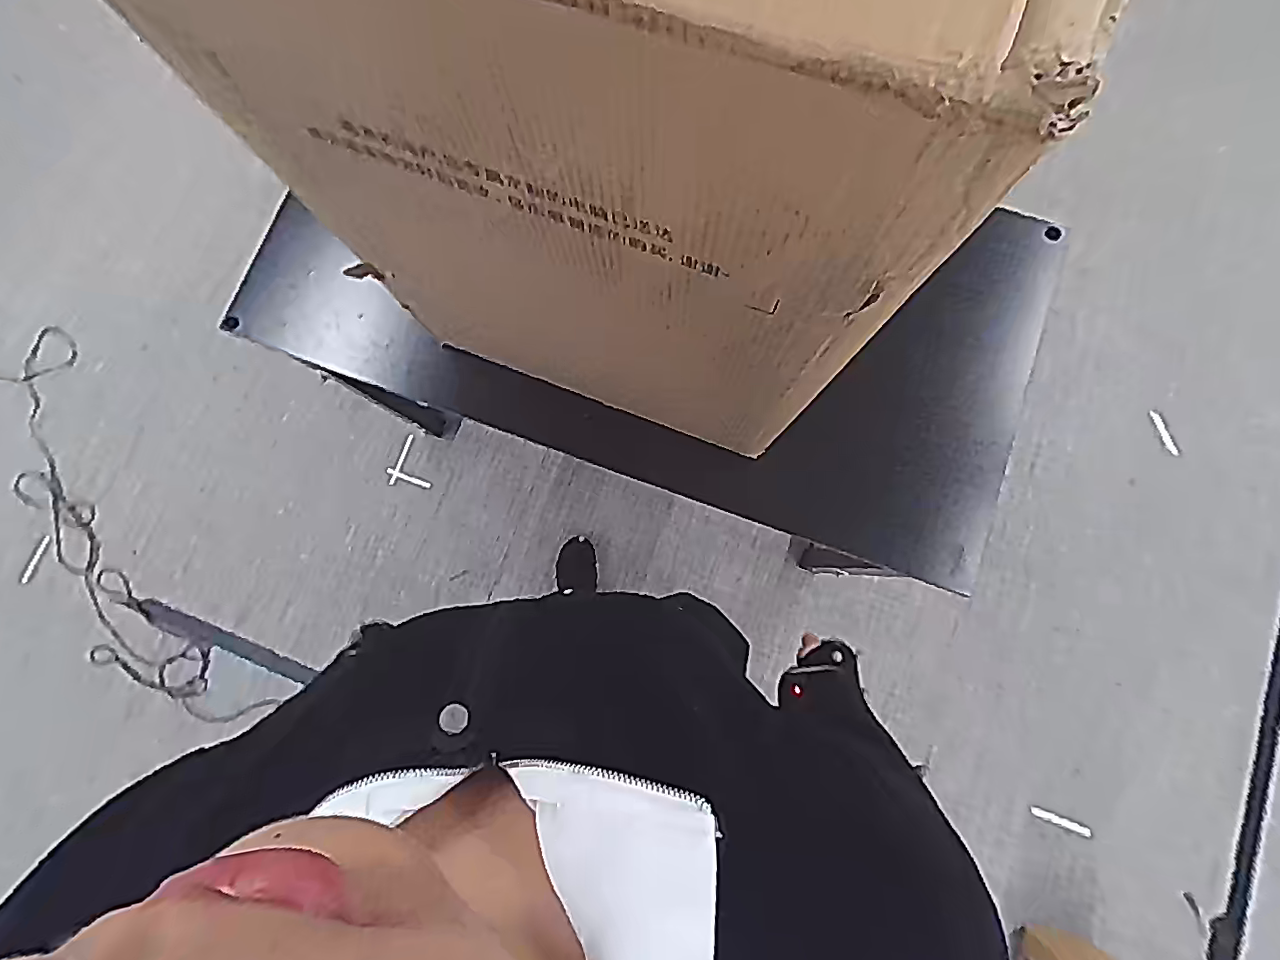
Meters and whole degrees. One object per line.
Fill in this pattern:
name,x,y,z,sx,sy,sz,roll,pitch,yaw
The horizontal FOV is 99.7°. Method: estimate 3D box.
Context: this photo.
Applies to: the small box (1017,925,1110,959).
small box,1.012,1.183,1.247,0.179,0.176,0.168,13,81,5
